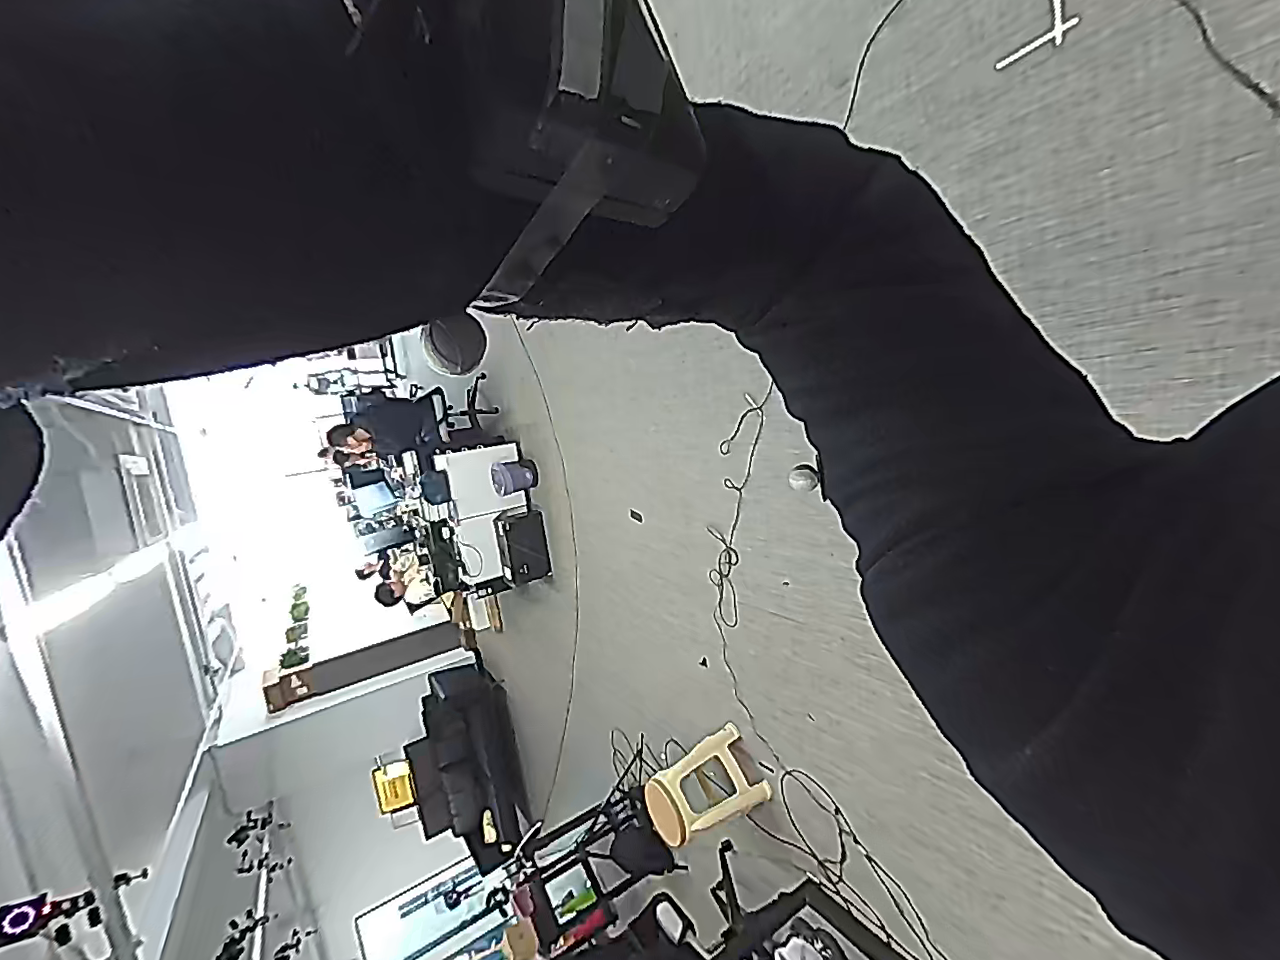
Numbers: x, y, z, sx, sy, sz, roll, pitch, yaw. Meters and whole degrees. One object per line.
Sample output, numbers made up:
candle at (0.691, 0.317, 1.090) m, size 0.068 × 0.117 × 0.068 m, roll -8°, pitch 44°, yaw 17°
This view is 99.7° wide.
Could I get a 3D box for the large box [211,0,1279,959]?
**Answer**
large box at (0.132, 0.053, 0.155) m, size 0.408 × 0.320 × 0.320 m, roll 16°, pitch -112°, yaw 54°
